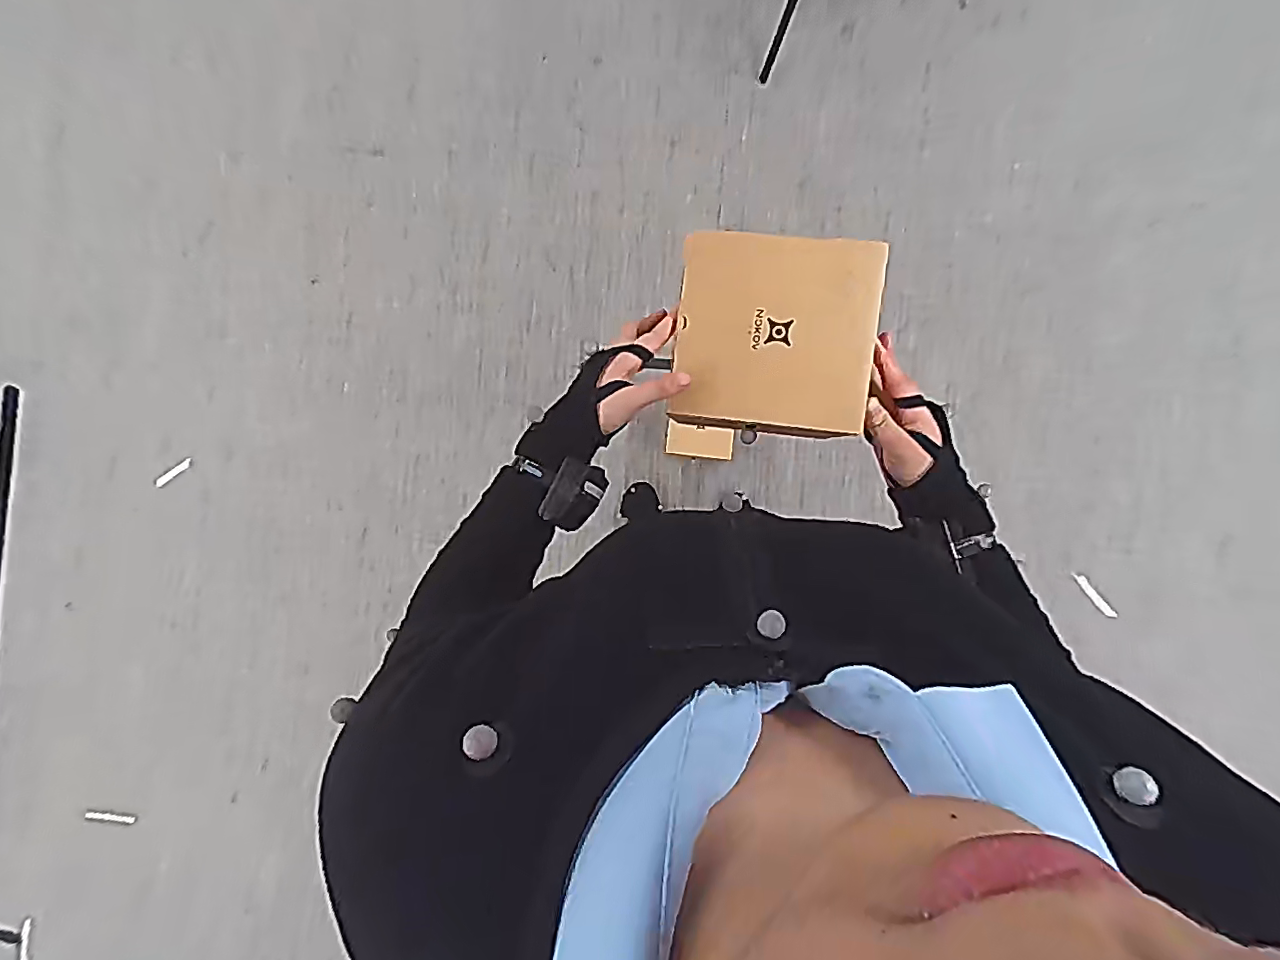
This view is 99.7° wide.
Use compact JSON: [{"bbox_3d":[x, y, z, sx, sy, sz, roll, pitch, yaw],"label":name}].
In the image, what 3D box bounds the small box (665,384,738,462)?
[{"bbox_3d":[0.158,-0.143,1.426,0.168,0.176,0.179,7,89,2],"label":"small box"}]
